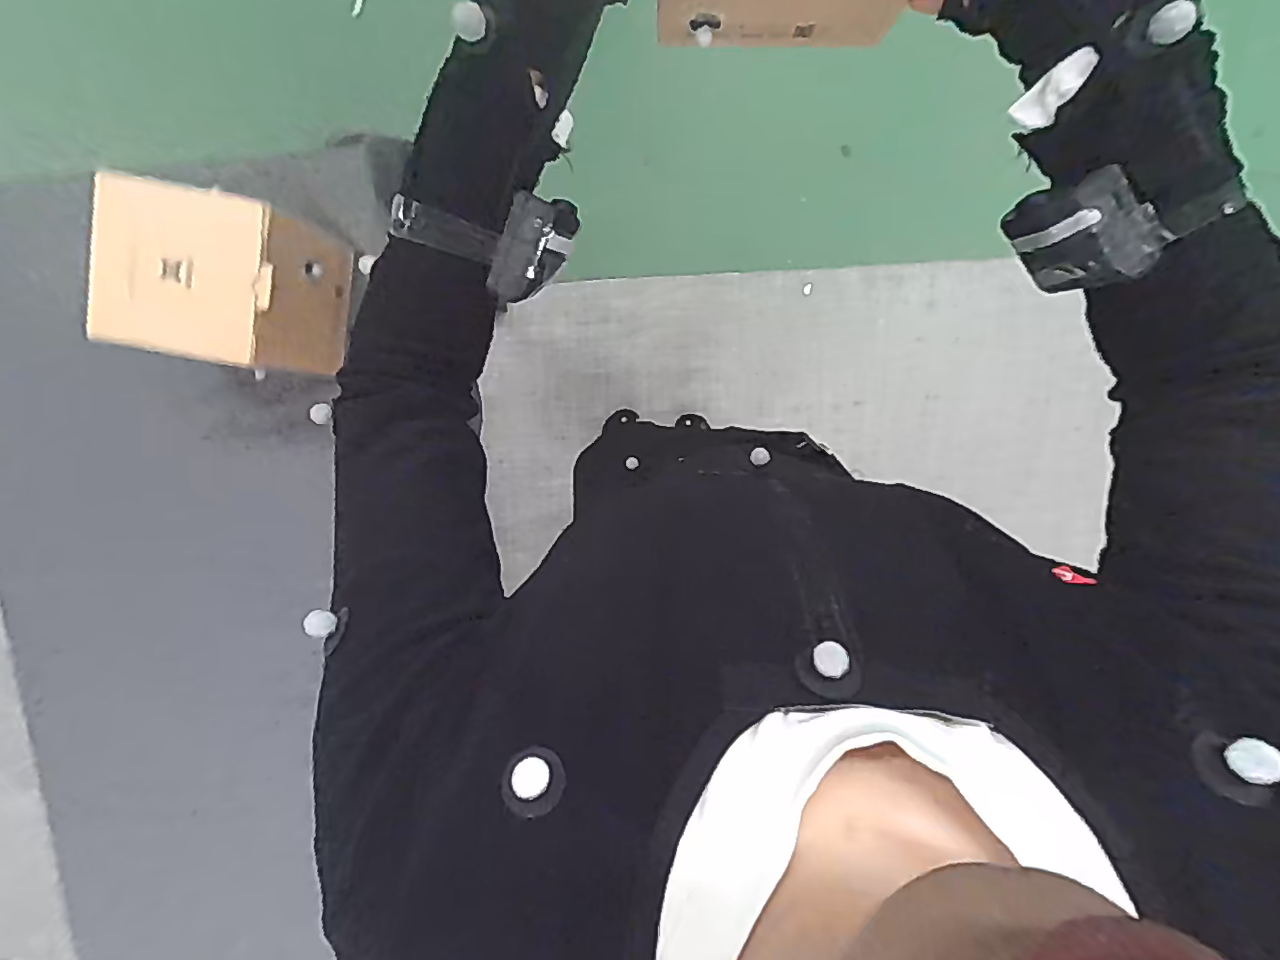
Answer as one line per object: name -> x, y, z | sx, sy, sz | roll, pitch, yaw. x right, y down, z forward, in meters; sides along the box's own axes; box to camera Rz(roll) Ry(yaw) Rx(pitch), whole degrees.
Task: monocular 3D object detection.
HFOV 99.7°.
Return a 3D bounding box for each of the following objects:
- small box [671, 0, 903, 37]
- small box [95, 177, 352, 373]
small box -> 0.099, -0.389, 0.300 | 0.168, 0.176, 0.179 | 2, 102, 1
small box -> -0.469, -0.223, 0.633 | 0.179, 0.176, 0.168 | 10, 97, 2
